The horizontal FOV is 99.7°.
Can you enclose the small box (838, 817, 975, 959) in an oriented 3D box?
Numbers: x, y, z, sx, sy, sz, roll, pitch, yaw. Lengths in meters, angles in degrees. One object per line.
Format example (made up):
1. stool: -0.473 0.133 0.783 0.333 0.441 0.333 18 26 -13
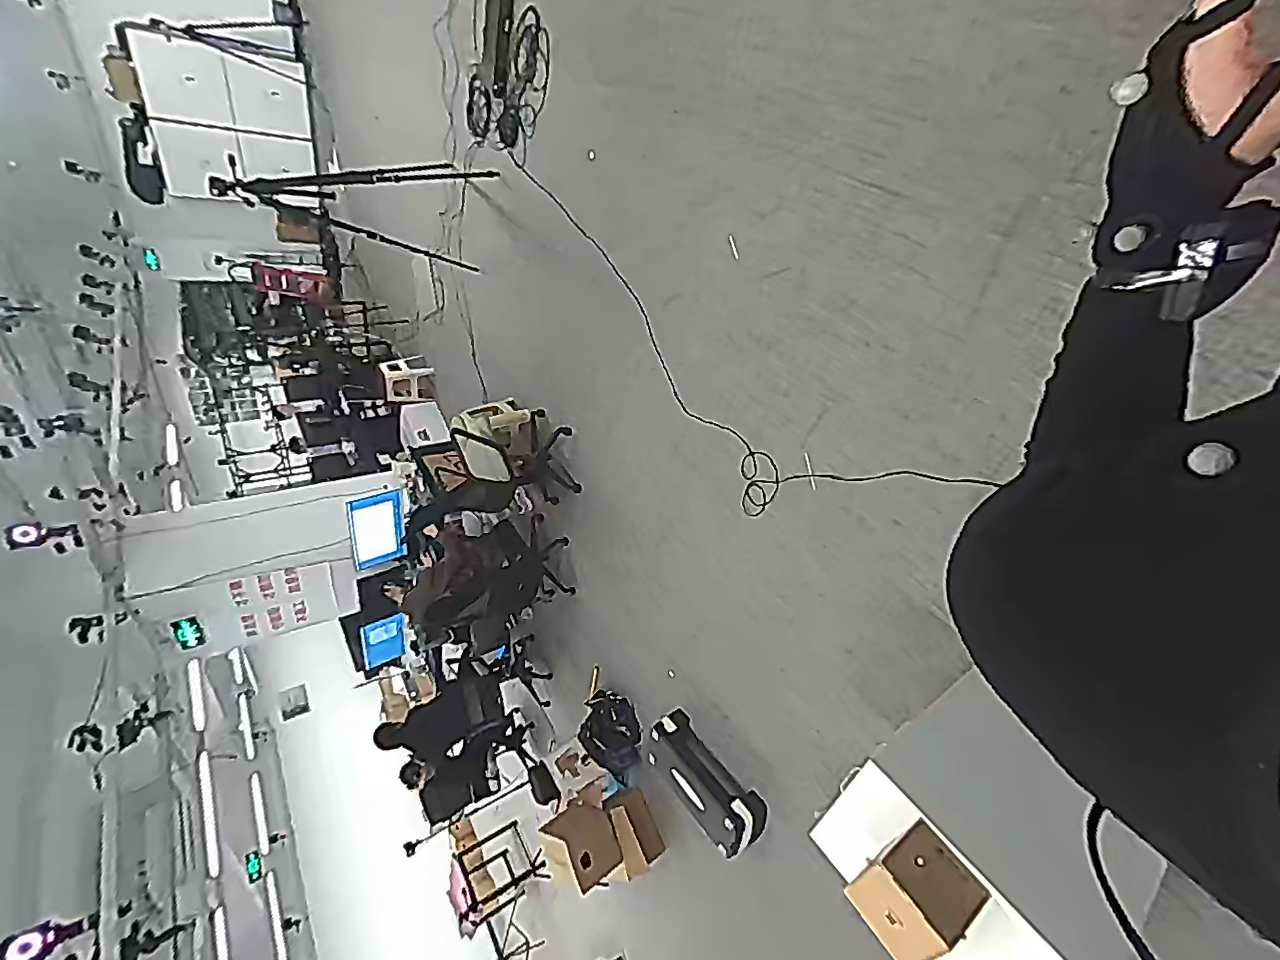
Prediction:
1. small box: 0.558 0.851 1.130 0.168 0.176 0.179 47 138 37
